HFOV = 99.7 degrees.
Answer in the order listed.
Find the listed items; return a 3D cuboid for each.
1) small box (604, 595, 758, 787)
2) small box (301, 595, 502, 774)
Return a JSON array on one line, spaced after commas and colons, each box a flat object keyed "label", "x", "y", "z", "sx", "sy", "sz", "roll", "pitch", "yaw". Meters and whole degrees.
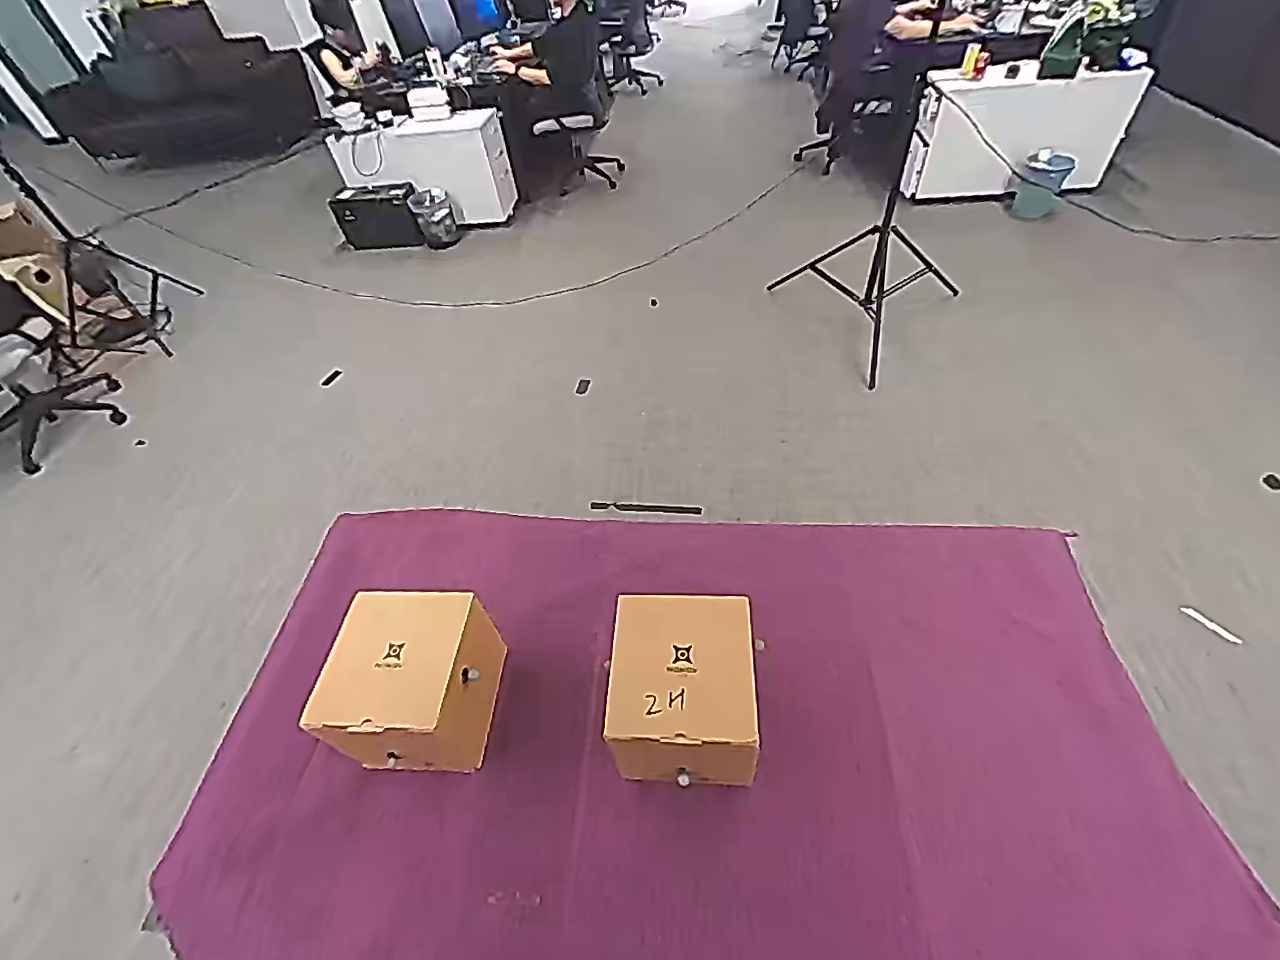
[{"label": "small box", "x": 0.055, "y": 0.265, "z": 0.681, "sx": 0.168, "sy": 0.176, "sz": 0.179, "roll": -1, "pitch": 48, "yaw": 7}, {"label": "small box", "x": -0.296, "y": 0.272, "z": 0.721, "sx": 0.168, "sy": 0.176, "sz": 0.179, "roll": -1, "pitch": 49, "yaw": 5}]
